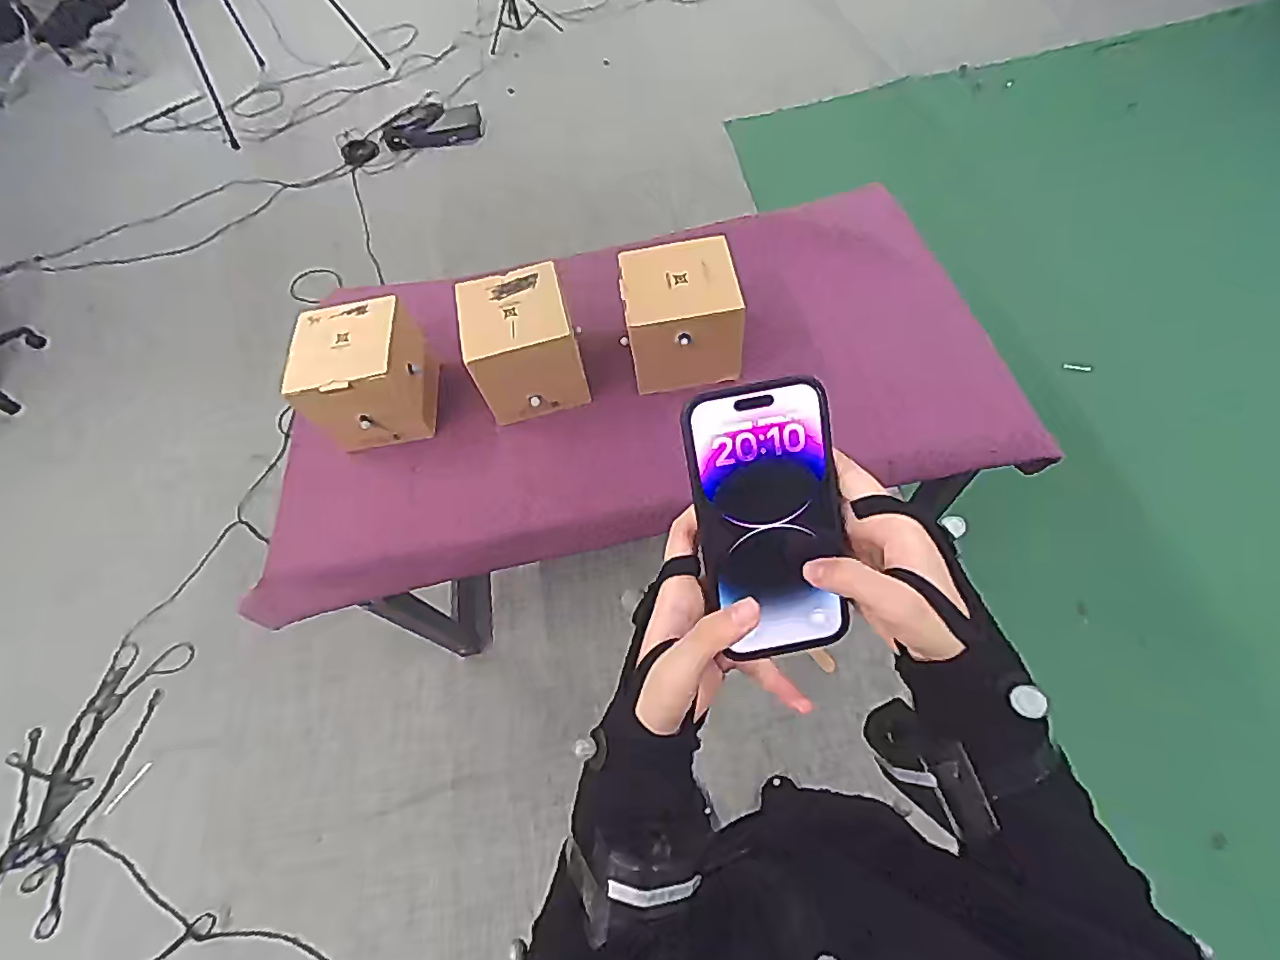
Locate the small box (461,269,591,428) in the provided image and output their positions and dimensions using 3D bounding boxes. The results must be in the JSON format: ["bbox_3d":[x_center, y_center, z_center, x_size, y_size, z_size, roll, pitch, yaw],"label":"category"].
[{"bbox_3d":[-0.188,-0.216,0.911,0.168,0.176,0.179,-15,60,0],"label":"small box"}]

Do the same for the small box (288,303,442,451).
[{"bbox_3d":[-0.451,-0.164,0.918,0.168,0.176,0.179,-10,60,2],"label":"small box"}]

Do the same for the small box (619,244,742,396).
[{"bbox_3d":[0.068,-0.257,0.900,0.179,0.176,0.168,-8,60,3],"label":"small box"}]
